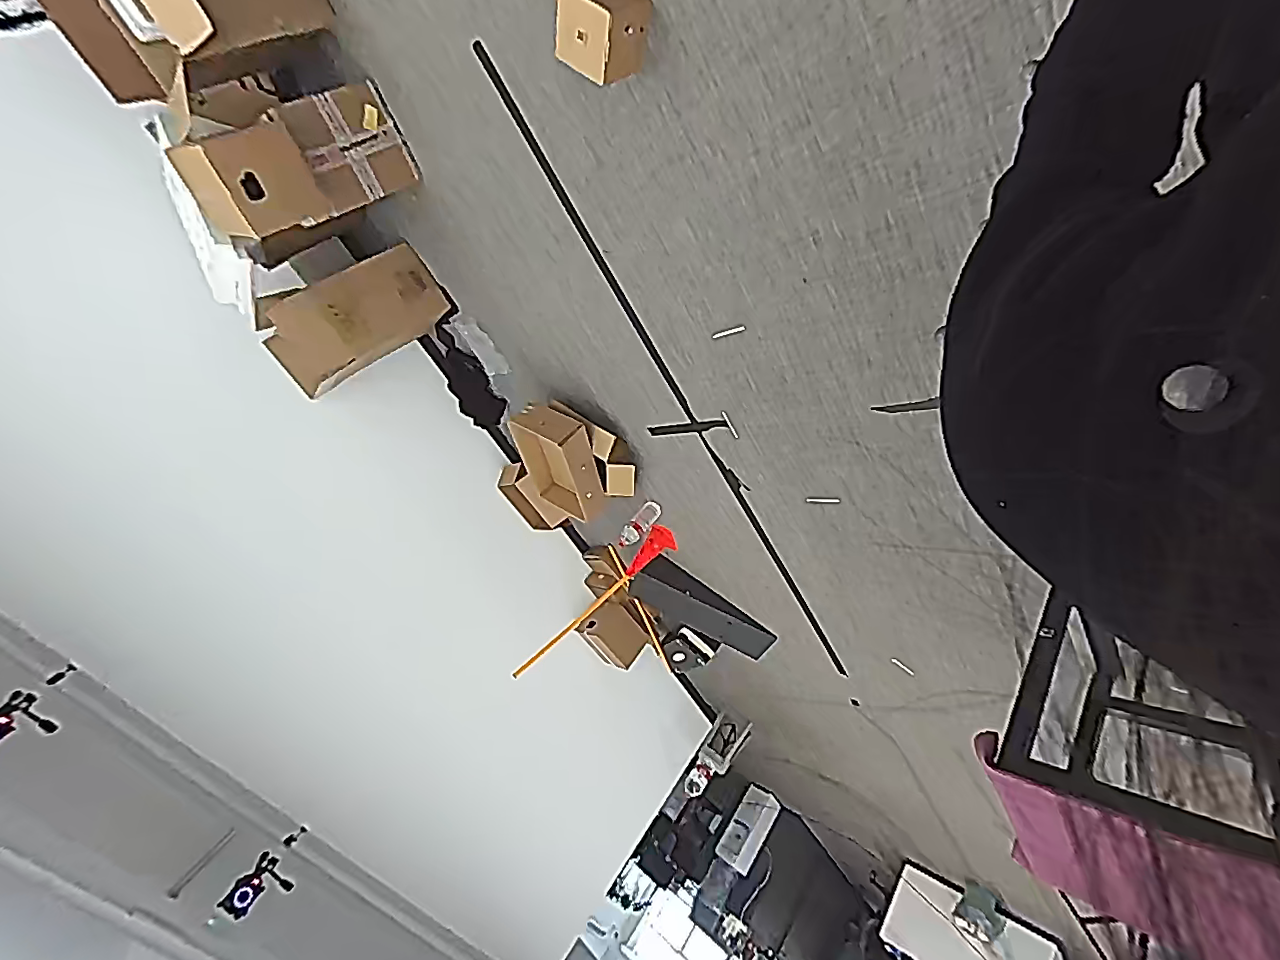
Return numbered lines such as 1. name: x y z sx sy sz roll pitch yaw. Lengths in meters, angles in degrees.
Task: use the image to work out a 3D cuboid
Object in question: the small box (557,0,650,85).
1. small box: -0.098 -1.199 1.432 0.179 0.176 0.168 39 150 11
